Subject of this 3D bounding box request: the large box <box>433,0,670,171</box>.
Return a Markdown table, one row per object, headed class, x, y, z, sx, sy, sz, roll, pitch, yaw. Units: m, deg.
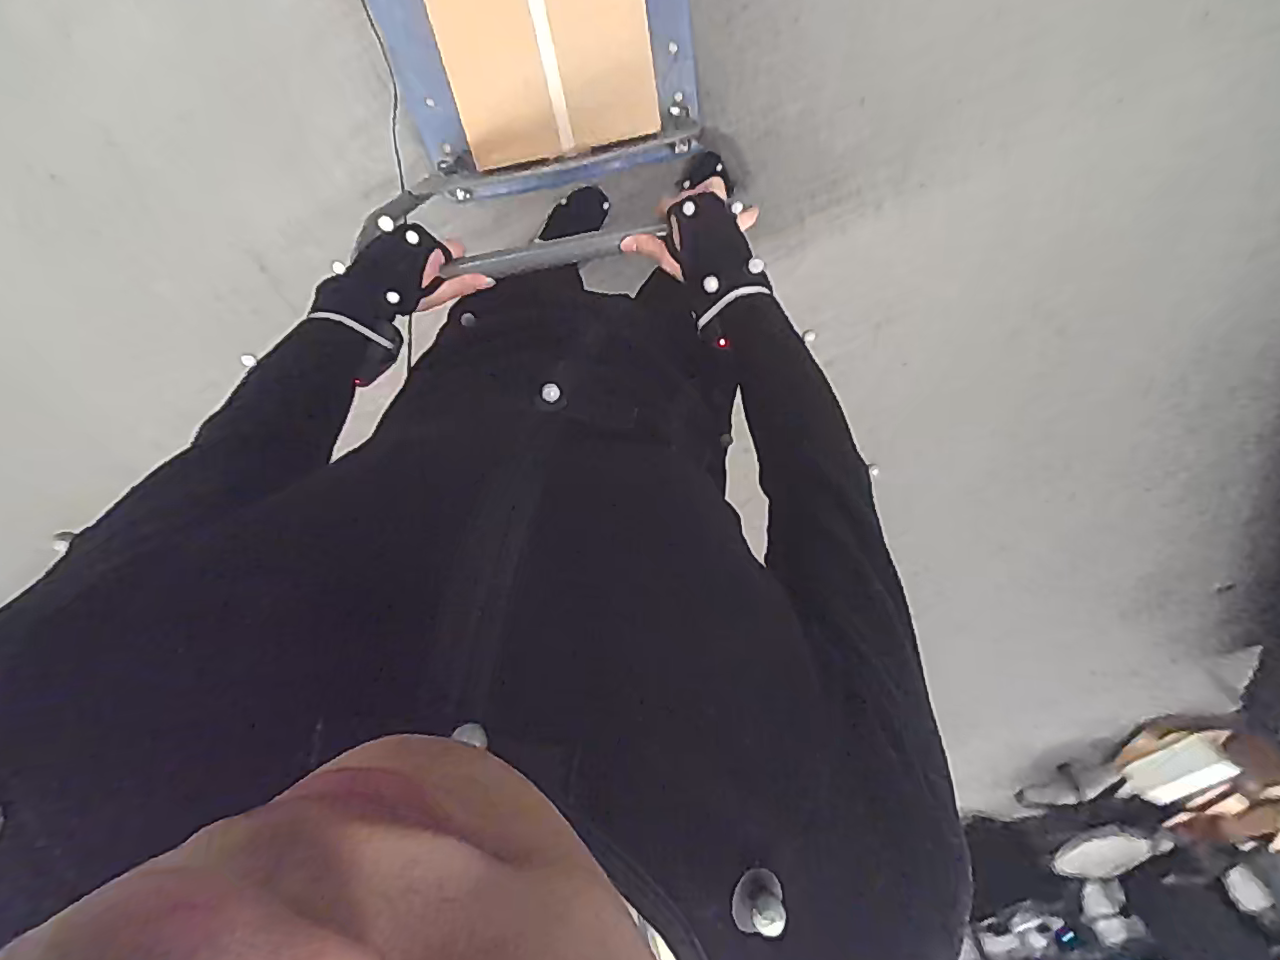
| class | x | y | z | sx | sy | sz | roll | pitch | yaw |
| --- | --- | --- | --- | --- | --- | --- | --- | --- | --- |
| large box | -0.144 | -0.775 | 0.886 | 0.320 | 0.320 | 0.408 | -10 | 124 | 3 |
